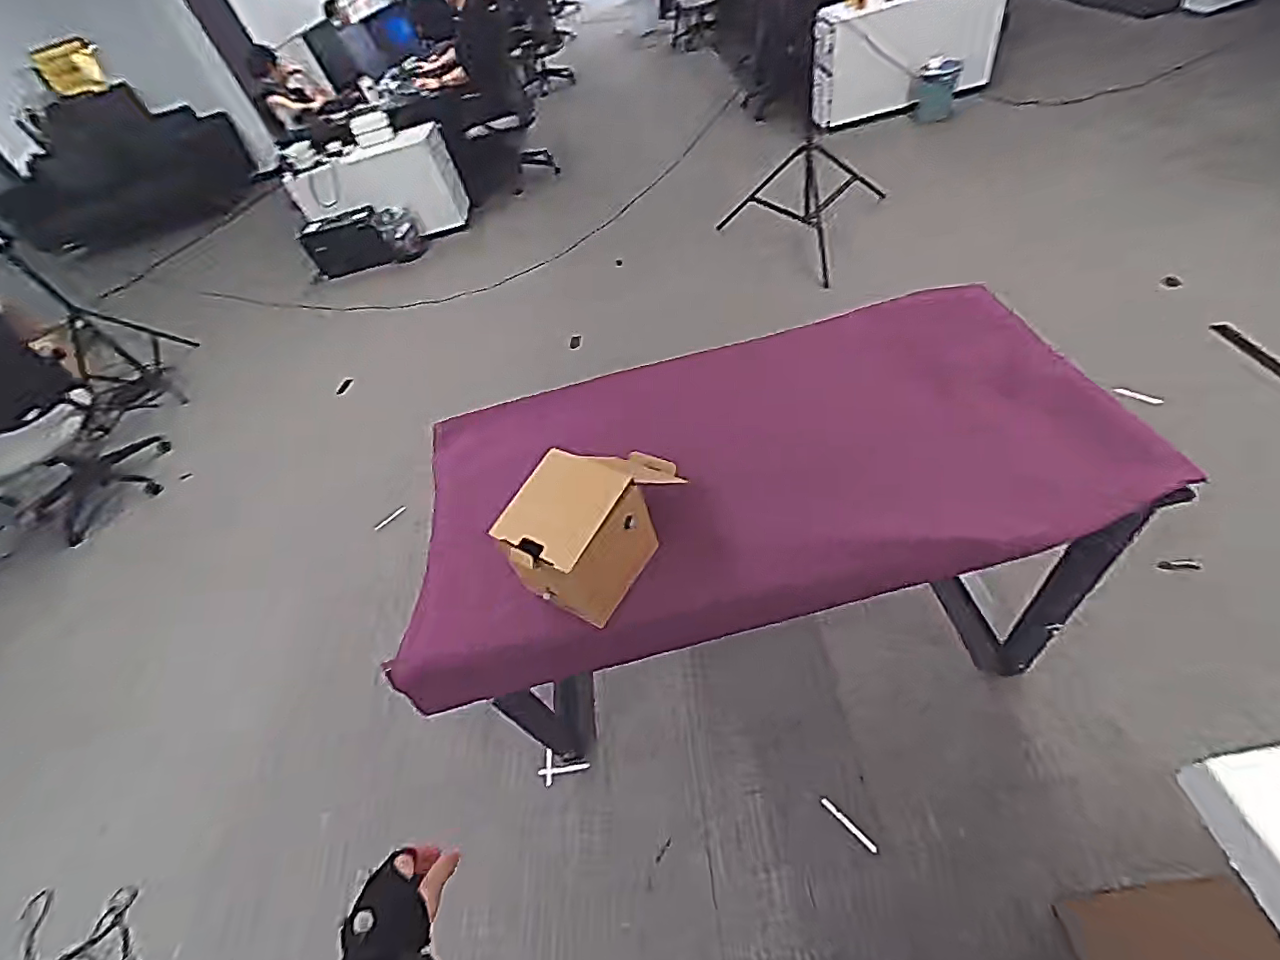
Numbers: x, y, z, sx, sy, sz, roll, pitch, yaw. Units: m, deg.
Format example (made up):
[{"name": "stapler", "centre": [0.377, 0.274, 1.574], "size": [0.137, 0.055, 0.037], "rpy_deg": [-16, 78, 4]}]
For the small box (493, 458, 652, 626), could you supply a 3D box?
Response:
[{"name": "small box", "centre": [-0.095, 0.099, 0.871], "size": [0.168, 0.176, 0.179], "rpy_deg": [19, 57, 31]}]
